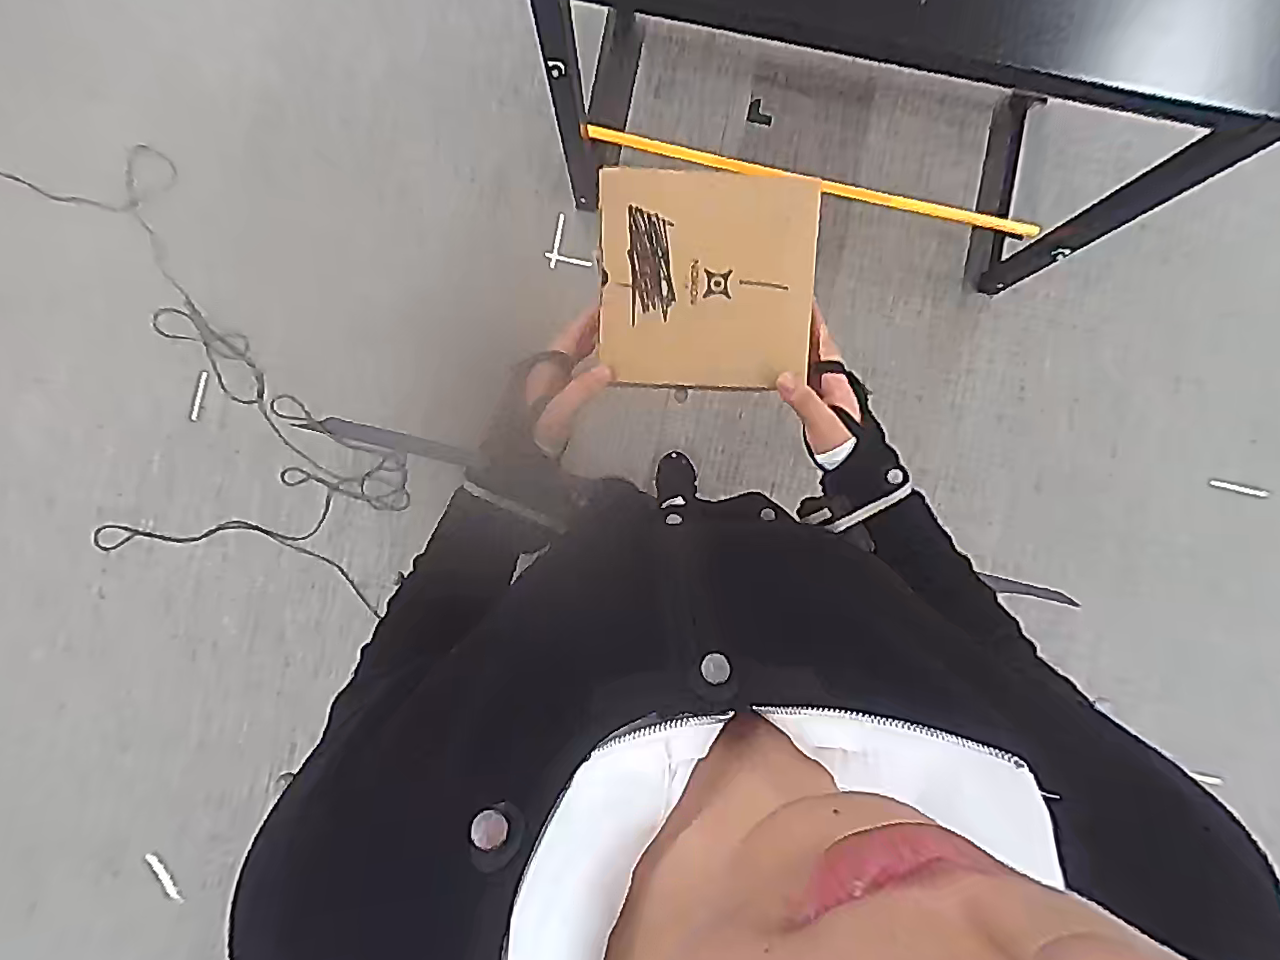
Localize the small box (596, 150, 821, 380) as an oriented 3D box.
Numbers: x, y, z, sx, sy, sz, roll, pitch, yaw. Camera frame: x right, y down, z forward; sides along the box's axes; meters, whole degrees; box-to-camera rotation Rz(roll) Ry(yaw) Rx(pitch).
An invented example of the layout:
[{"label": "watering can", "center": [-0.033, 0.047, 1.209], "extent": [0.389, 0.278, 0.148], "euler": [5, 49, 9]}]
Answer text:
[{"label": "small box", "center": [0.051, -0.183, 0.510], "extent": [0.179, 0.176, 0.168], "euler": [1, 98, -3]}]
